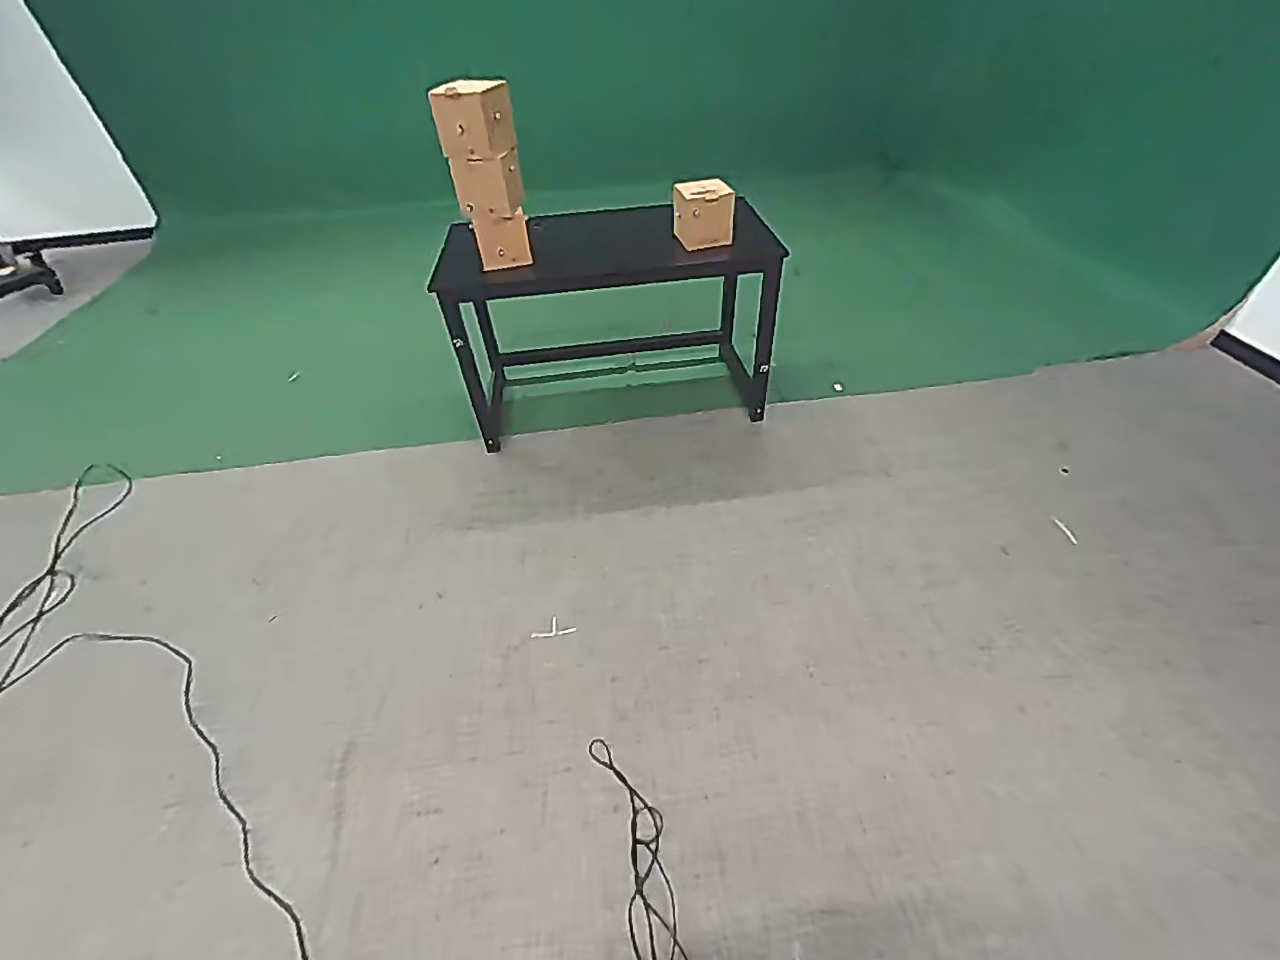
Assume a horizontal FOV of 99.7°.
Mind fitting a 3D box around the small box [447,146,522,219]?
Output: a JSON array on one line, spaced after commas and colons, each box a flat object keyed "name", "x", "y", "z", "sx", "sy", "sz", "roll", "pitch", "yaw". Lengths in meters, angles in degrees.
[{"name": "small box", "x": -0.489, "y": -0.952, "z": 1.735, "sx": 0.168, "sy": 0.176, "sz": 0.179, "roll": 3, "pitch": 44, "yaw": 6}]

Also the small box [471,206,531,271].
[{"name": "small box", "x": -0.477, "y": -0.835, "z": 1.849, "sx": 0.168, "sy": 0.176, "sz": 0.179, "roll": -13, "pitch": 46, "yaw": -10}]

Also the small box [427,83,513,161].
[{"name": "small box", "x": -0.500, "y": -1.074, "z": 1.625, "sx": 0.168, "sy": 0.176, "sz": 0.179, "roll": 11, "pitch": 47, "yaw": 13}]
